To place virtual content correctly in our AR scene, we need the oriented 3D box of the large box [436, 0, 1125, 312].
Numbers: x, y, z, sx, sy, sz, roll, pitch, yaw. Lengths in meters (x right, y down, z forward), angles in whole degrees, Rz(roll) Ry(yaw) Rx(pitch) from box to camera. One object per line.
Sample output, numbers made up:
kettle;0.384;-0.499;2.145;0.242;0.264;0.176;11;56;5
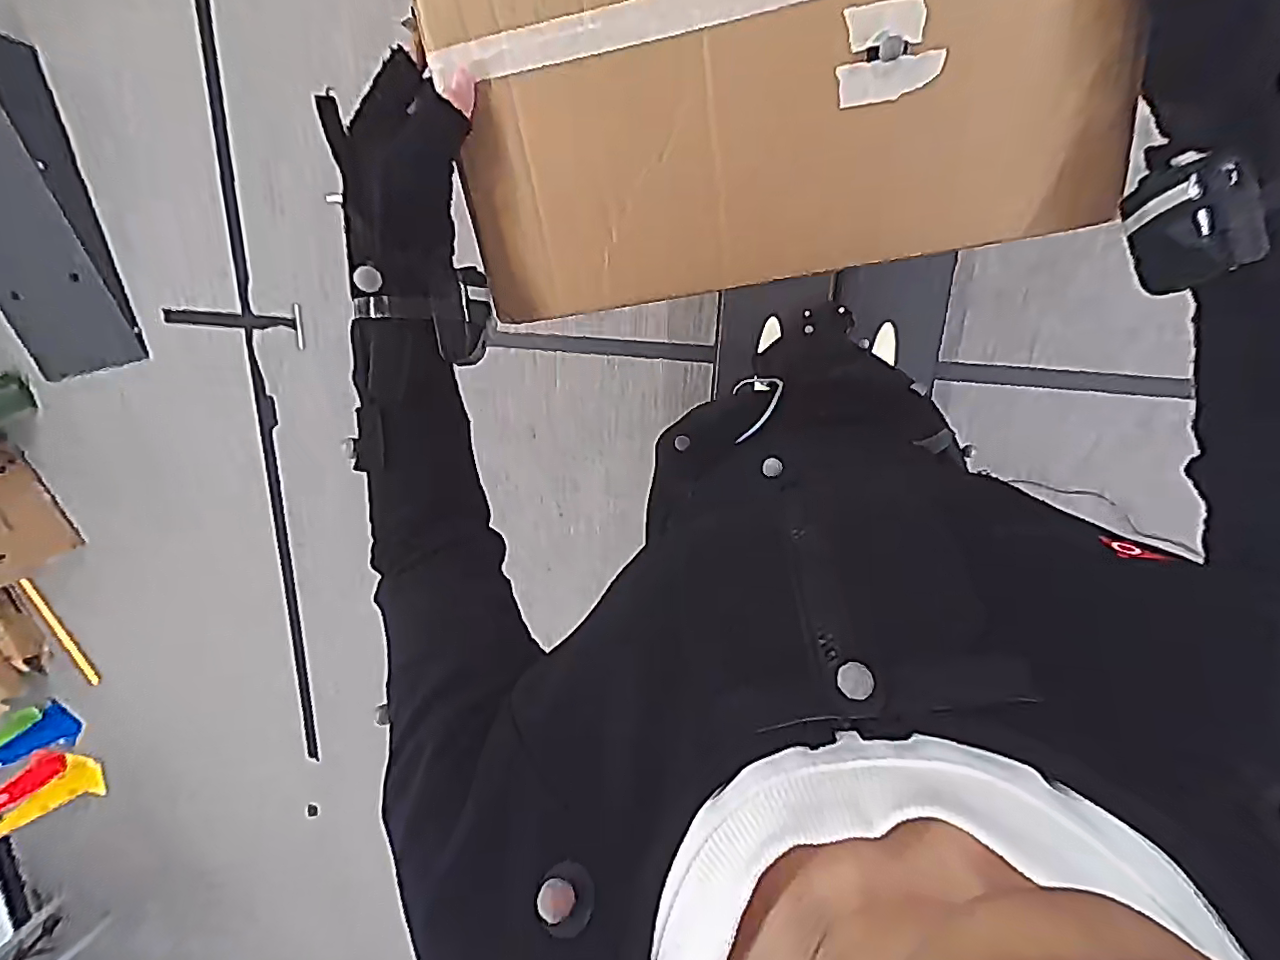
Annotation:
large box;0.085;-0.346;0.457;0.408;0.320;0.320;-7;112;9
